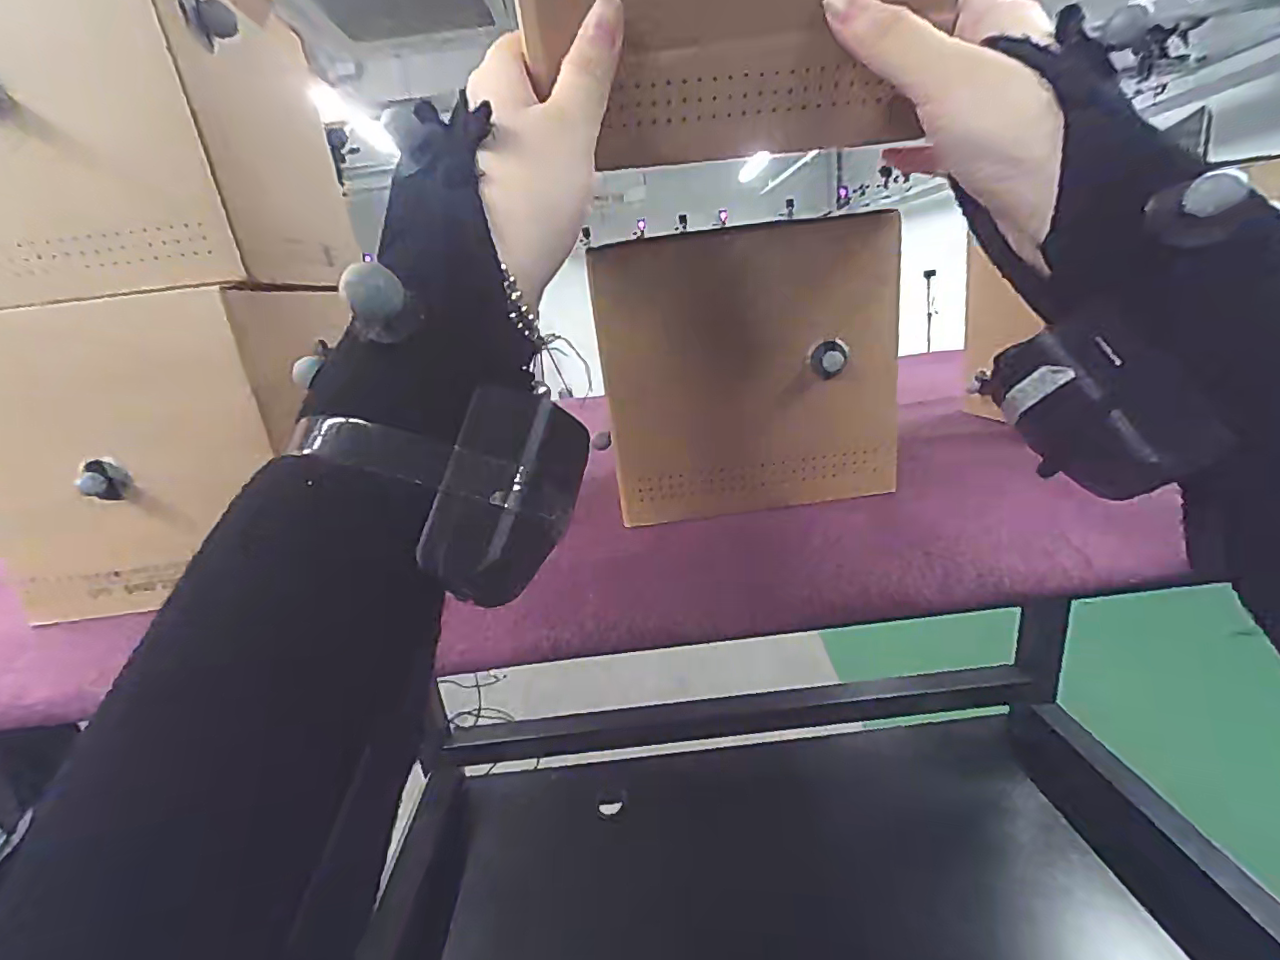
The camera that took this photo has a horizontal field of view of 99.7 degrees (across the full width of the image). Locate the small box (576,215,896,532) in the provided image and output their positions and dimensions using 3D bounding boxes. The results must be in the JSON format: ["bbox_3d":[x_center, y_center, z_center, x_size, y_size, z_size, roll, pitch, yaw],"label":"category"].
[{"bbox_3d":[0.057,-0.077,0.388,0.179,0.176,0.168,-9,18,-1],"label":"small box"}]

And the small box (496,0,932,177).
[{"bbox_3d":[0.023,-0.250,0.241,0.179,0.176,0.168,-7,44,-2],"label":"small box"}]

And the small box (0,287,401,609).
[{"bbox_3d":[-0.280,-0.028,0.358,0.168,0.176,0.179,-7,19,-2],"label":"small box"}]

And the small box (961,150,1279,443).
[{"bbox_3d":[0.375,-0.129,0.410,0.179,0.176,0.168,-7,16,2],"label":"small box"}]
